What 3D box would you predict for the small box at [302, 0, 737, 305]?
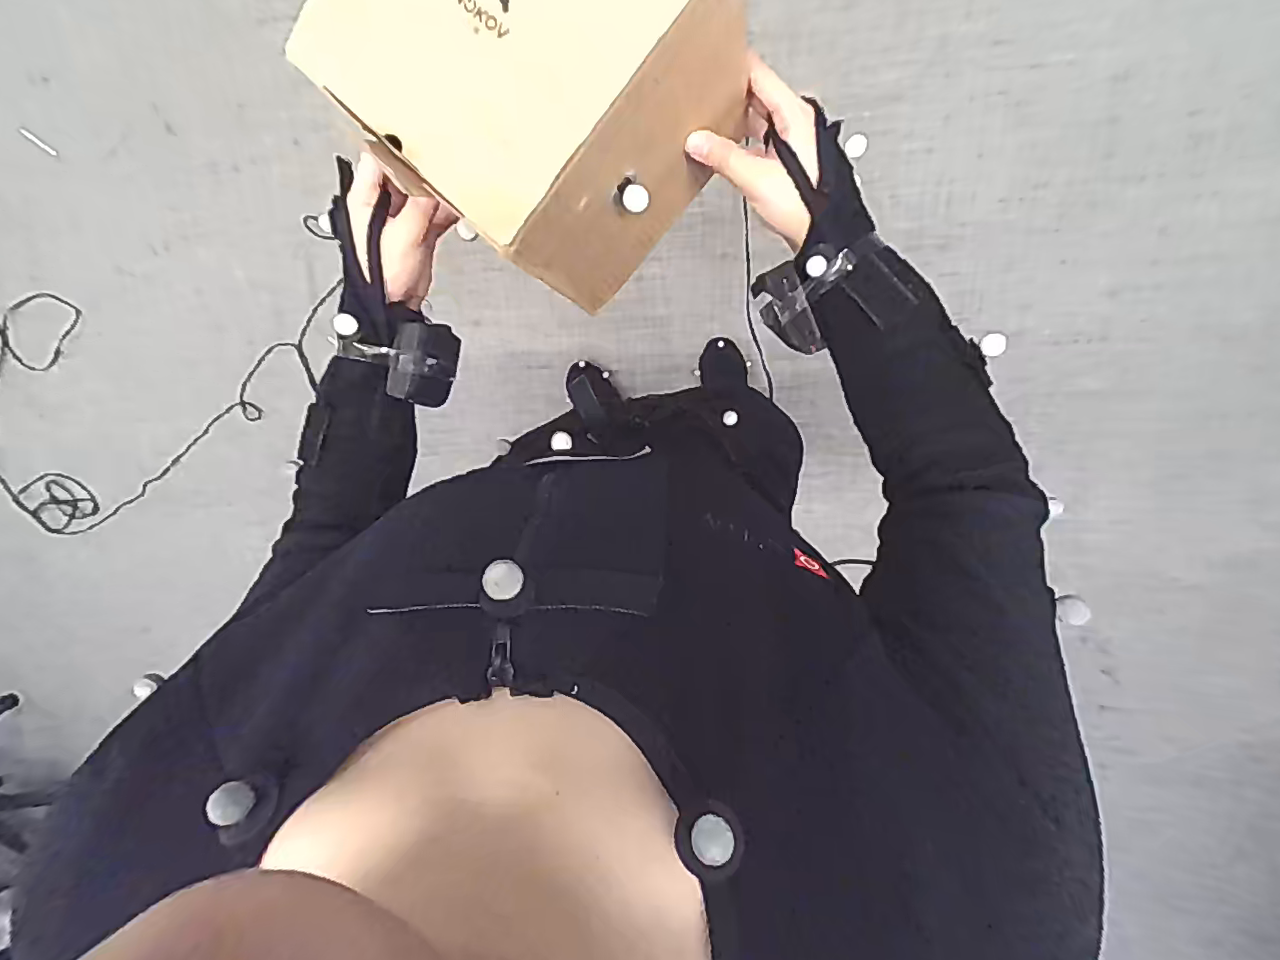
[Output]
[{"bbox_3d":[-0.052,-0.238,0.341,0.168,0.176,0.179,43,103,4],"label":"small box"}]
